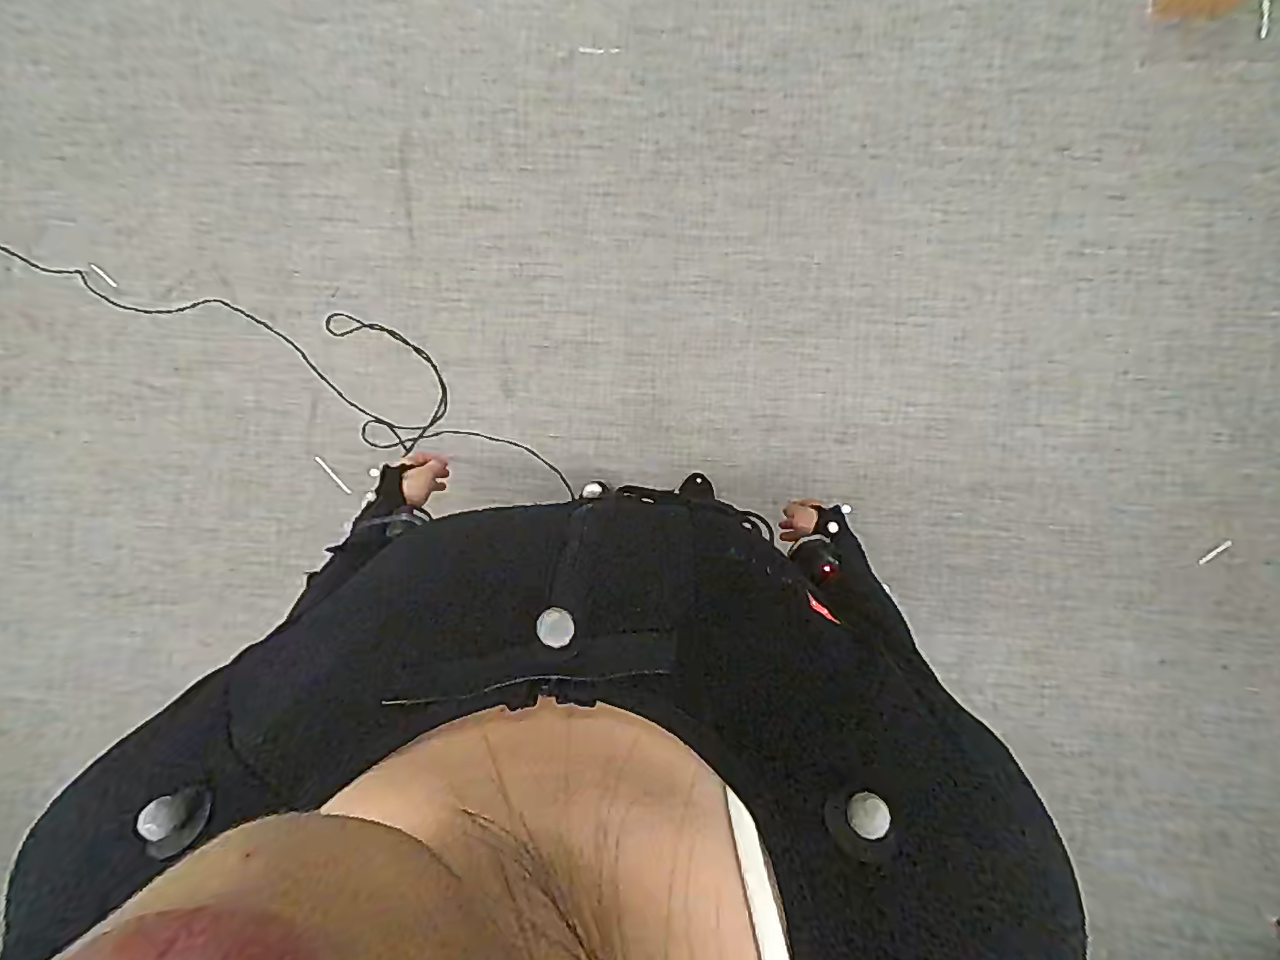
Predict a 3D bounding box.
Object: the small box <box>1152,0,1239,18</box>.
[{"bbox_3d":[1.445,-1.300,1.341,0.179,0.176,0.168,8,90,2],"label":"small box"}]
